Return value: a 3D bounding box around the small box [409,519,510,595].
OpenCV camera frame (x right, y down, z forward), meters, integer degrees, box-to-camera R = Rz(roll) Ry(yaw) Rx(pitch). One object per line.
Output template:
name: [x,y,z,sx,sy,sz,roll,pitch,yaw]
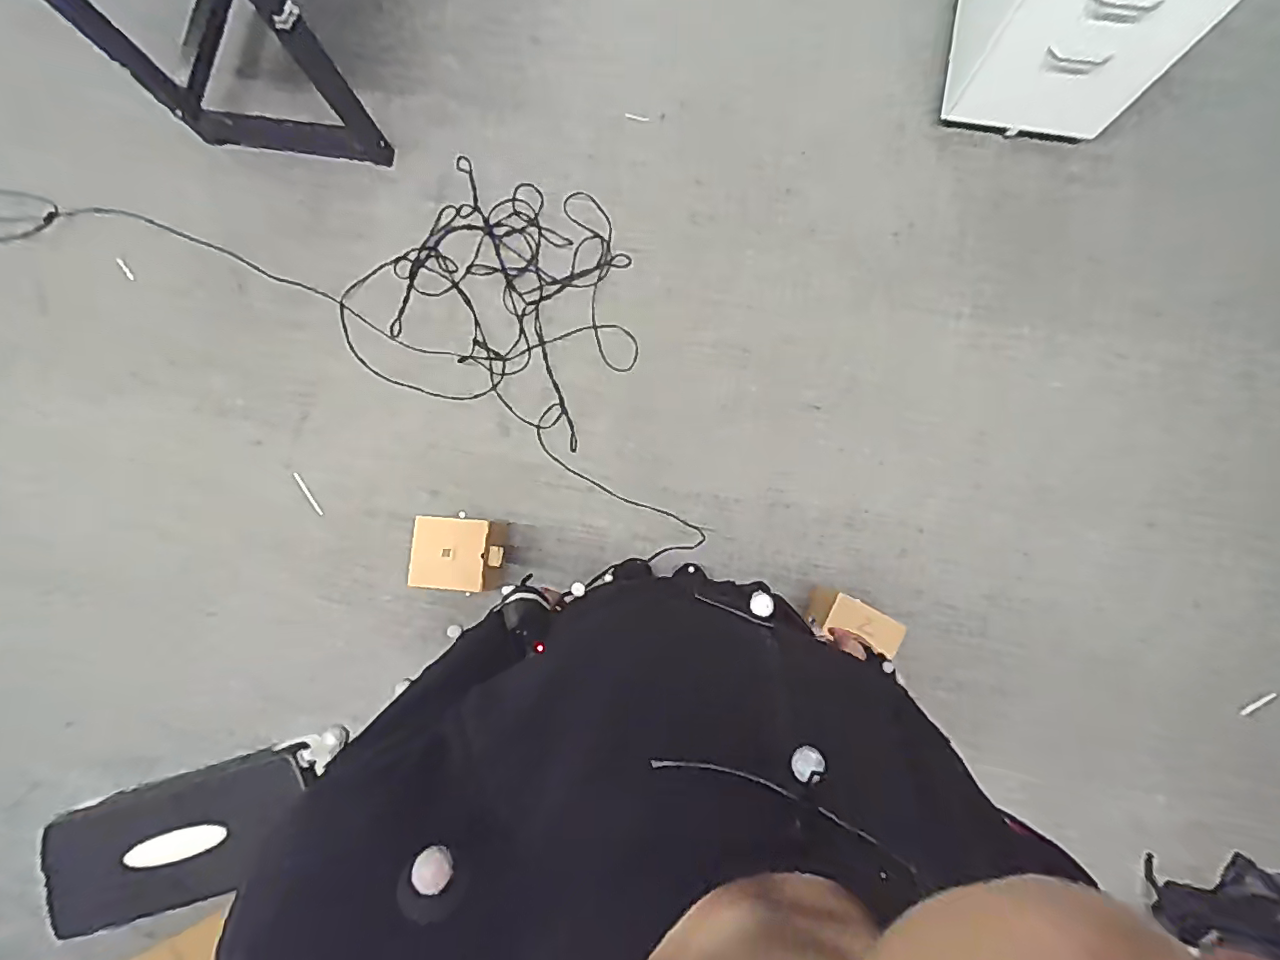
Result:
small box: [-0.430,0.188,1.314,0.179,0.176,0.168,3,82,2]
